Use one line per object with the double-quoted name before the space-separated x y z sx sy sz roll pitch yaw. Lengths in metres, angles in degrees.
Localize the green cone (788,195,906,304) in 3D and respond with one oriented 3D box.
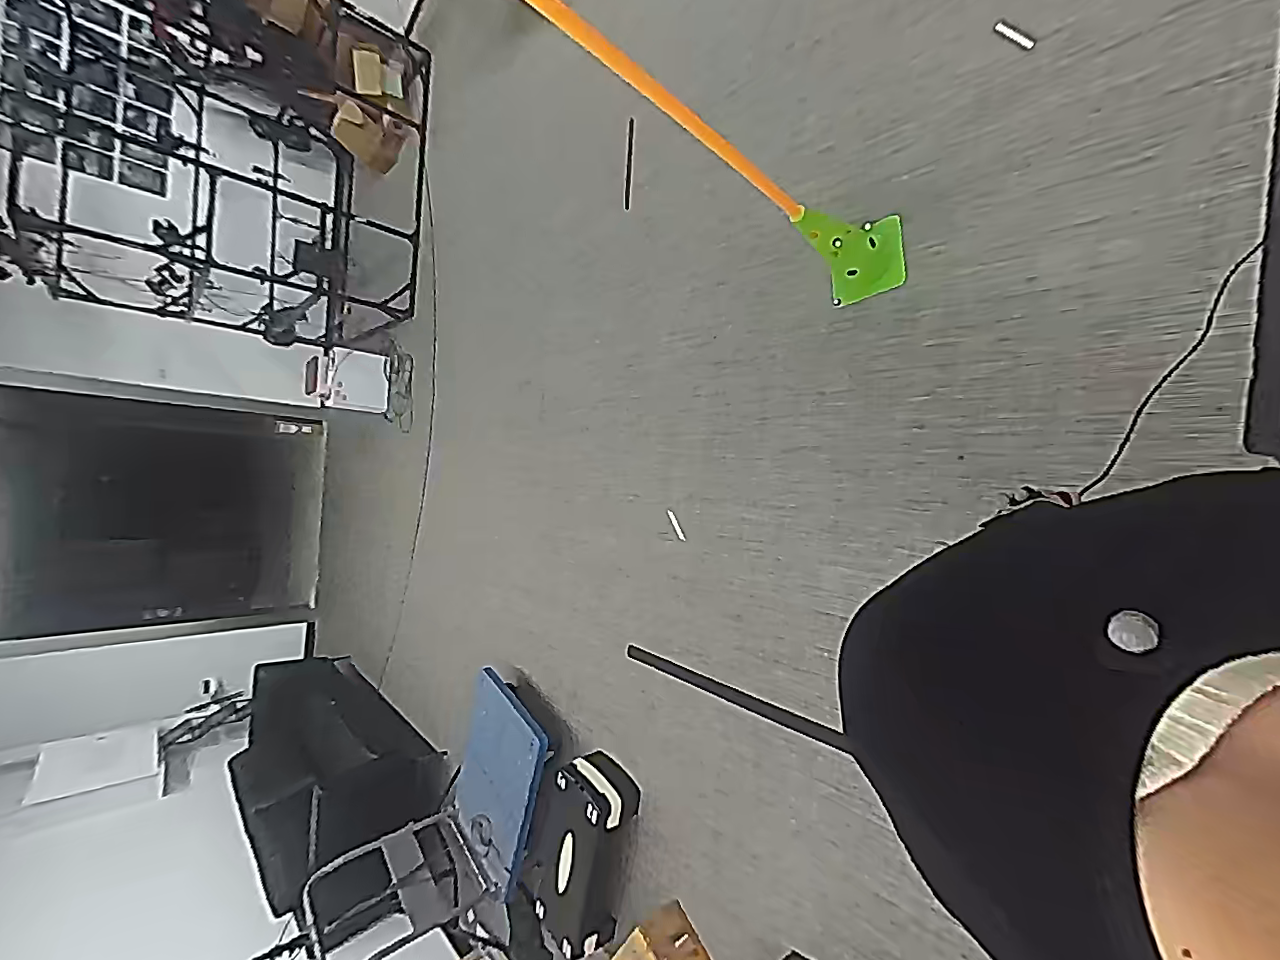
"green cone" 0.493 -0.617 1.362 0.200 0.368 0.202 -11 77 47
